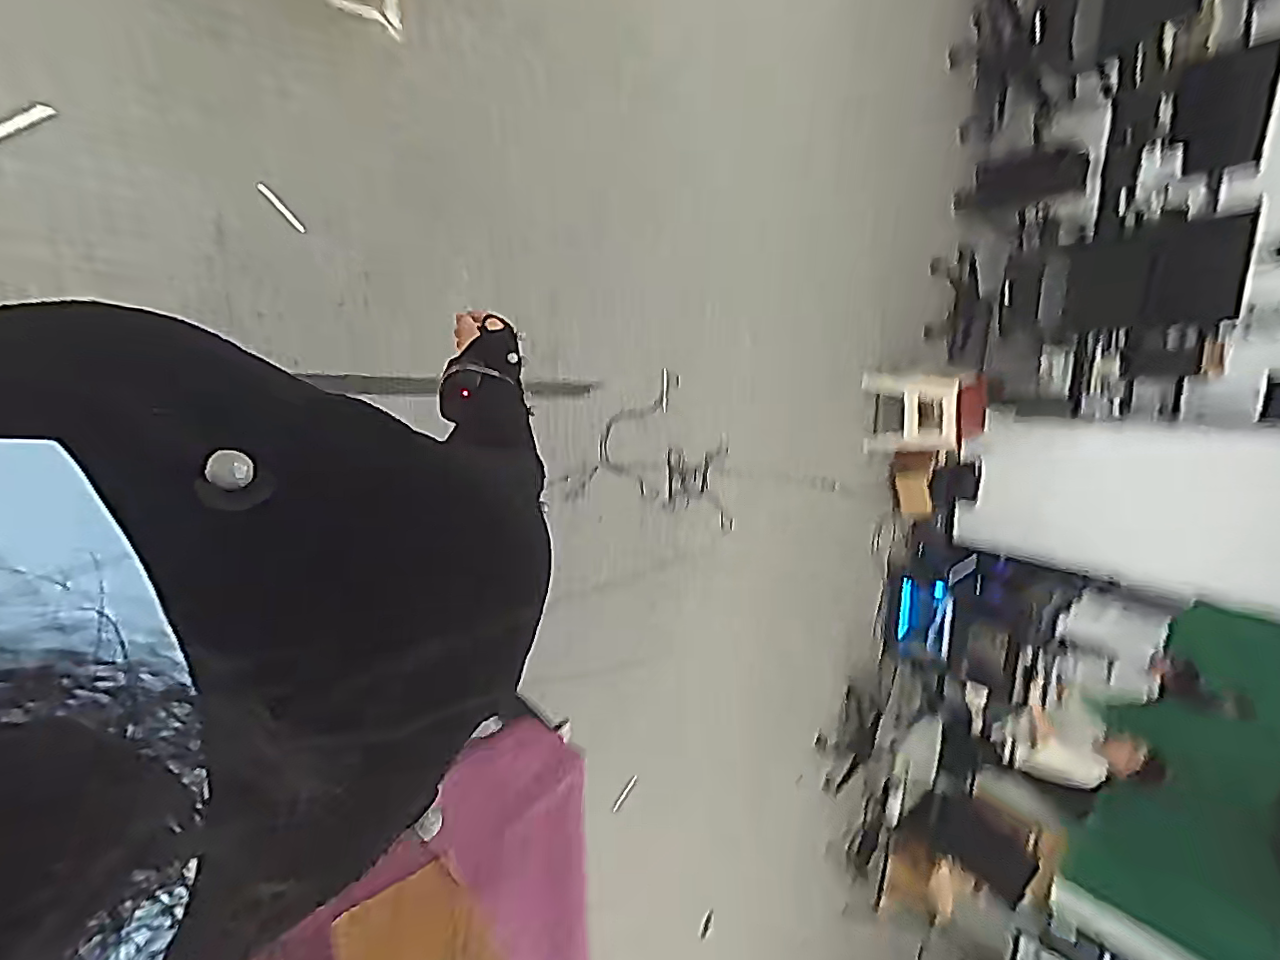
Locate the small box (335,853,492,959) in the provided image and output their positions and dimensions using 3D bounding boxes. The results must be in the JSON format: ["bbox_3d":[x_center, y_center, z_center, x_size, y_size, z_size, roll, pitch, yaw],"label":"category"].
[{"bbox_3d":[-0.329,0.711,0.800,0.179,0.176,0.168,-12,106,-37],"label":"small box"}]
